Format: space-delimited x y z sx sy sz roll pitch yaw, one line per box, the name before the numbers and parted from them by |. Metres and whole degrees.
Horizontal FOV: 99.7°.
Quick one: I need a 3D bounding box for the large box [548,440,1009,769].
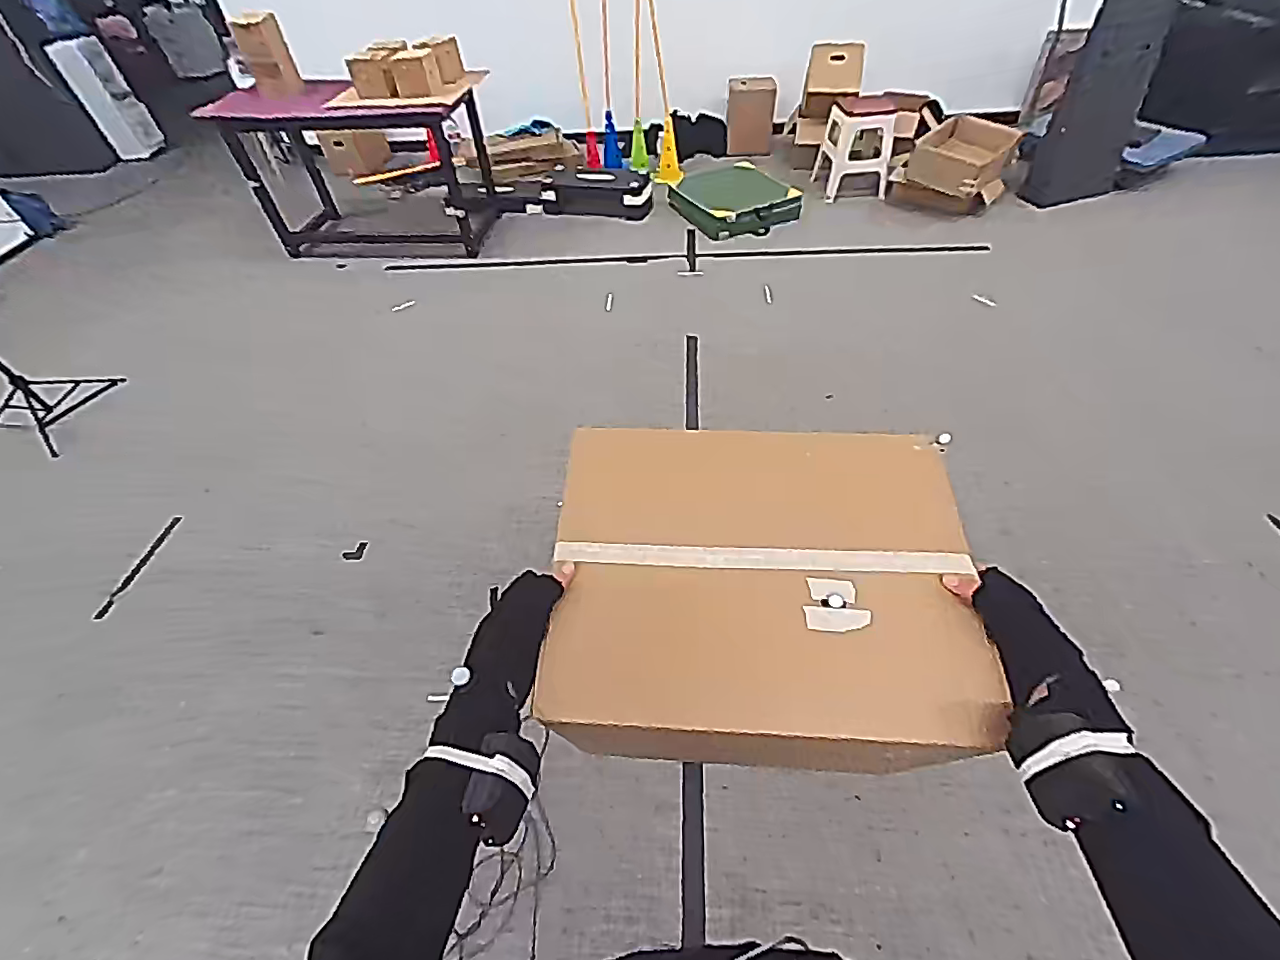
large box | 0.127 0.165 0.668 0.408 0.320 0.320 2 59 4
